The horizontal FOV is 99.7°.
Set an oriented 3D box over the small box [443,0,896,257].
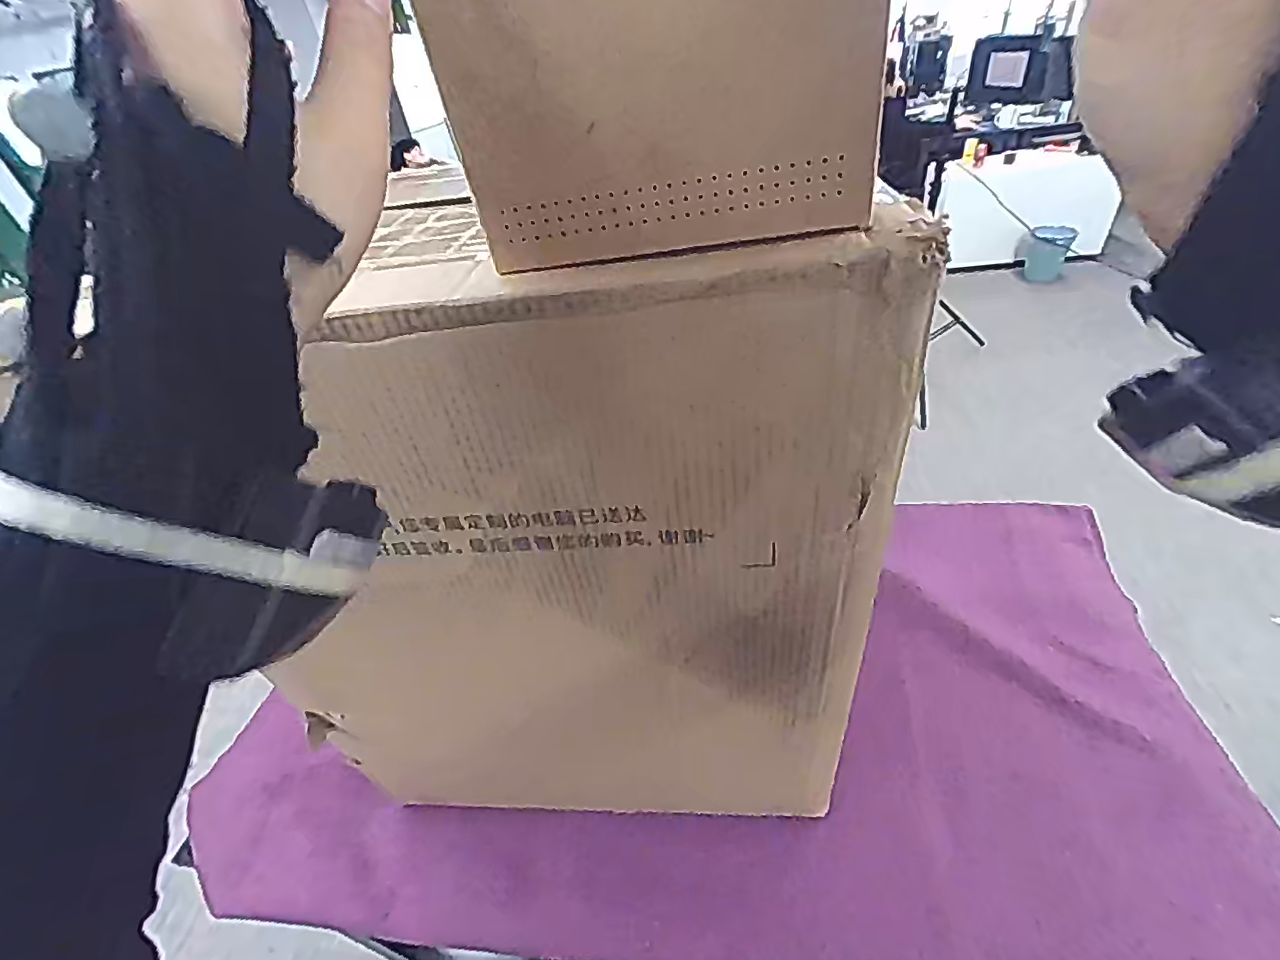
[{"bbox_3d":[0.015,-0.218,0.256,0.179,0.176,0.168,-3,40,10],"label":"small box"}]
